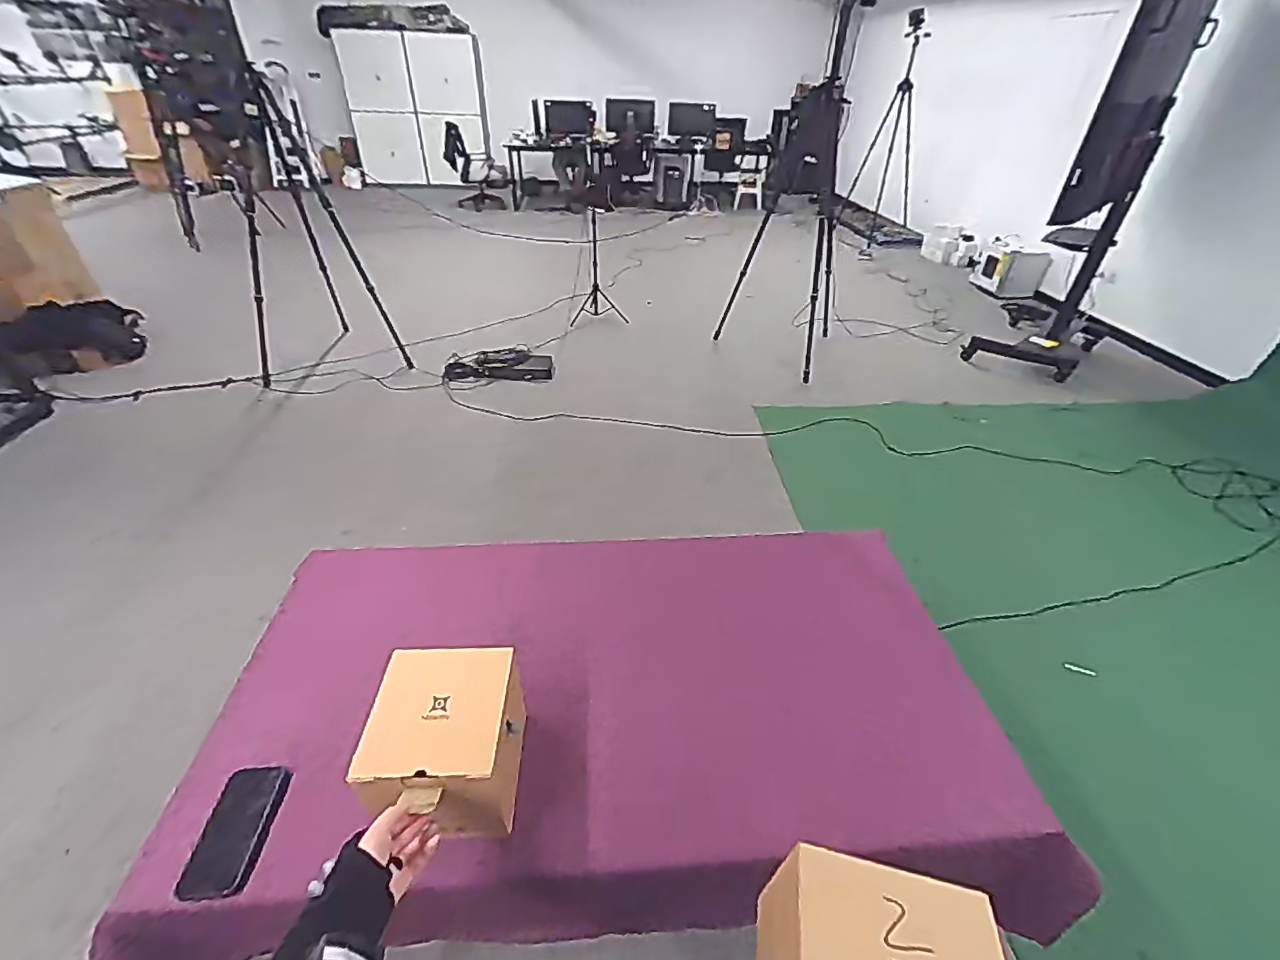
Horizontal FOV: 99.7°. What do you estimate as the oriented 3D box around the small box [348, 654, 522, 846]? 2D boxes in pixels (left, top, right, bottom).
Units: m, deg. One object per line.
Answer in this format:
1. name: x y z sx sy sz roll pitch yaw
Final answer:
1. small box: -0.255 0.357 0.723 0.168 0.176 0.179 1 37 -3
